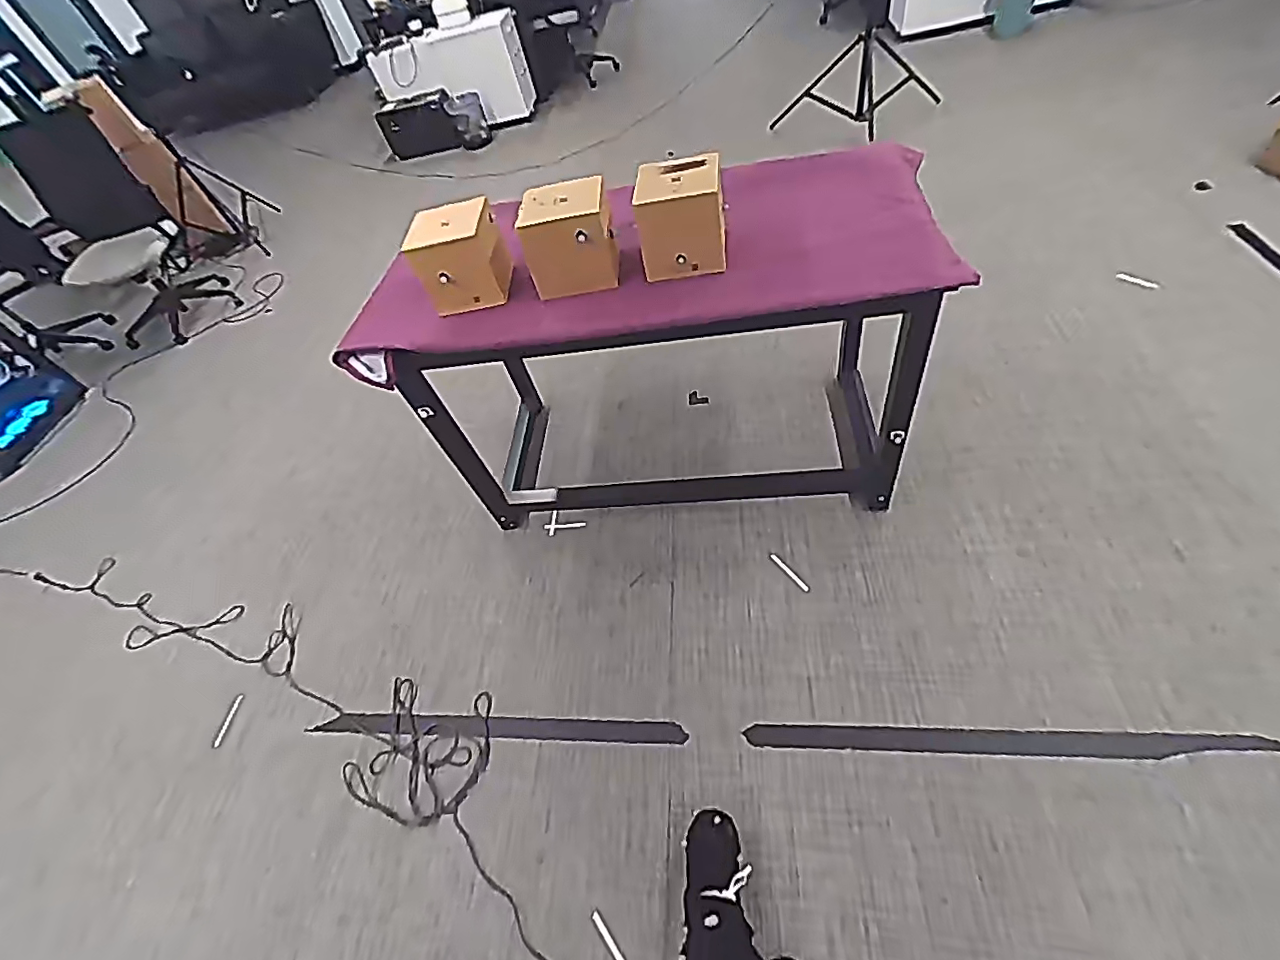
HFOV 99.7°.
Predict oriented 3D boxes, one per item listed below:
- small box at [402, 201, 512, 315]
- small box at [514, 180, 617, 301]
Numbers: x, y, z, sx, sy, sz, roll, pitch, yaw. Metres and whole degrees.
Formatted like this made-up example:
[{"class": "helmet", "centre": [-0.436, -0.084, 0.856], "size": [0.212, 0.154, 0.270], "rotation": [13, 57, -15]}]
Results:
[{"class": "small box", "centre": [-0.401, -0.491, 1.219], "size": [0.168, 0.176, 0.179], "rotation": [-10, 50, 7]}, {"class": "small box", "centre": [-0.150, -0.513, 1.169], "size": [0.179, 0.176, 0.168], "rotation": [-7, 50, 8]}]
